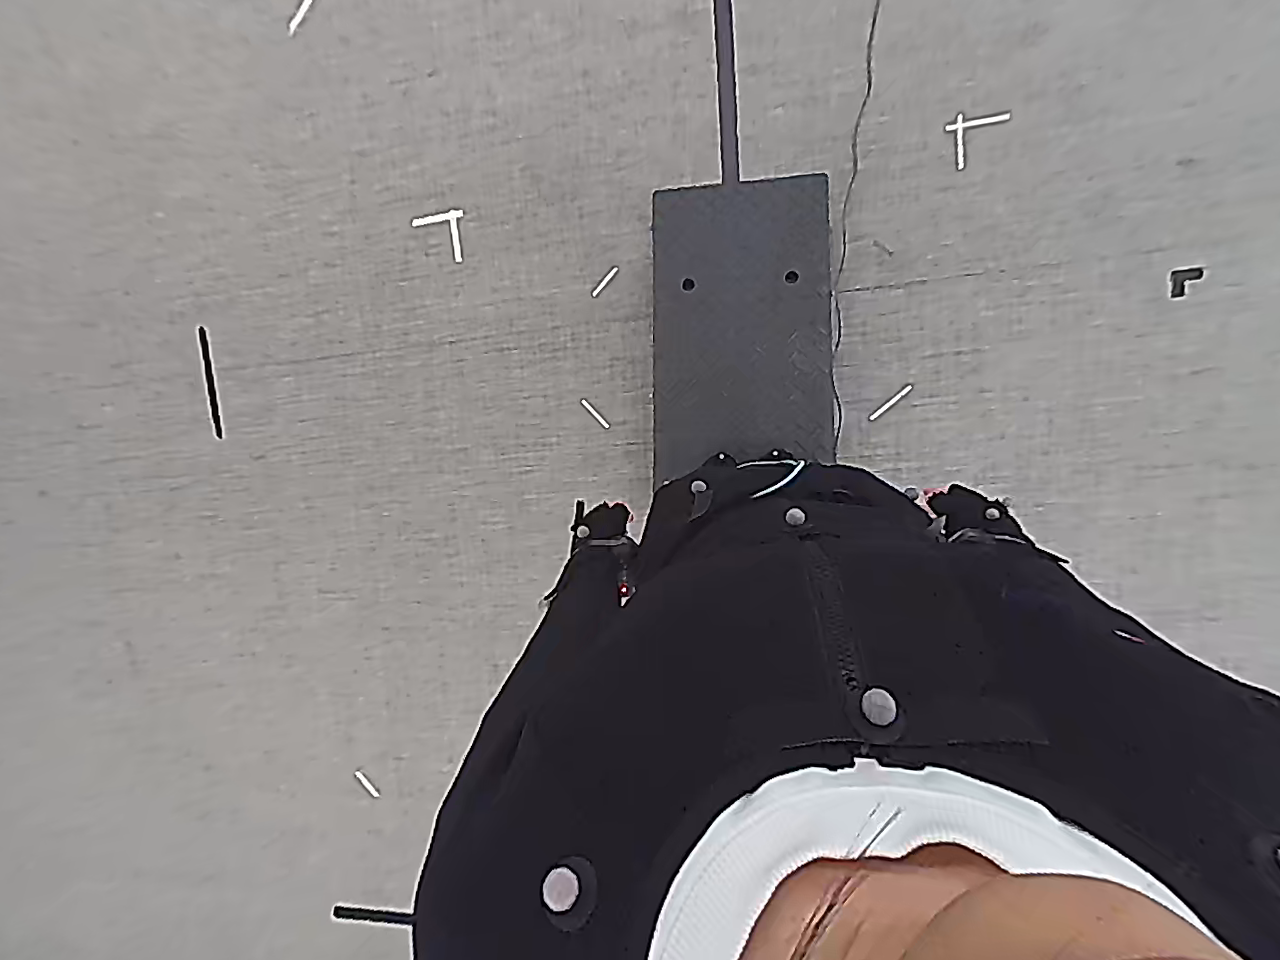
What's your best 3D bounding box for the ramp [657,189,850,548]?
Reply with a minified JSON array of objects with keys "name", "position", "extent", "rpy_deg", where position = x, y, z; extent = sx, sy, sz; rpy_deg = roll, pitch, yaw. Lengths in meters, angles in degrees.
[{"name":"ramp","position":[0.297,-0.314,1.514],"extent":[0.509,0.206,0.991],"rpy_deg":[-4,93,12]}]
